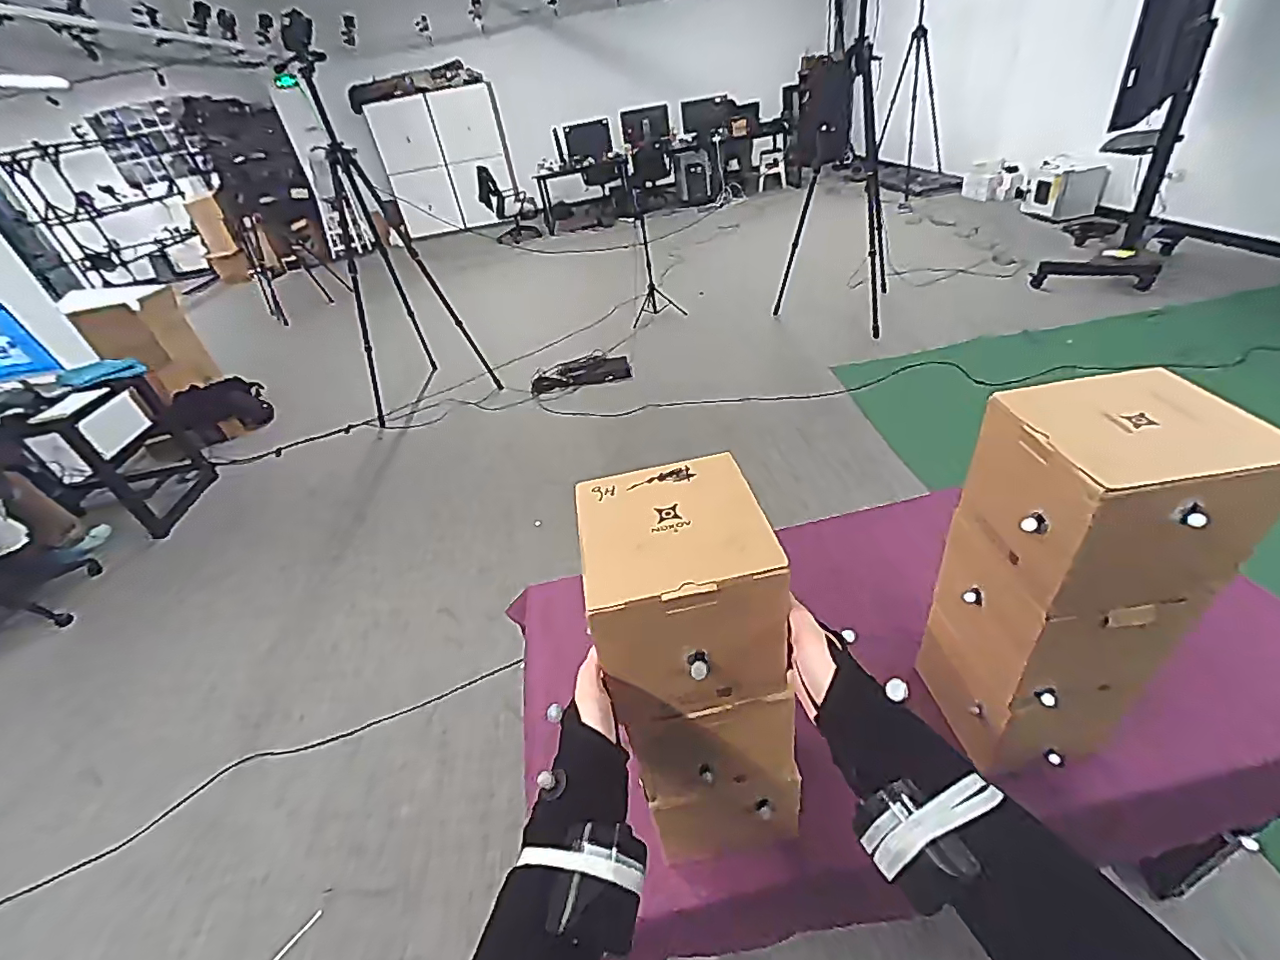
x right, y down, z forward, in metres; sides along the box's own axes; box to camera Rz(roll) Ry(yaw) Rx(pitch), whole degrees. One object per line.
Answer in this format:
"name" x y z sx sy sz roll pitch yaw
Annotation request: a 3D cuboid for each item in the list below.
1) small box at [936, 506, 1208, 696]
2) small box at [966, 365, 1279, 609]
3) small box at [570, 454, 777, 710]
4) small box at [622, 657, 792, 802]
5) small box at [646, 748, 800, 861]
"small box" 0.481 0.135 0.640 0.168 0.176 0.179 -10 35 3
"small box" 0.456 0.009 0.540 0.179 0.176 0.168 -9 37 3
"small box" 0.032 0.104 0.536 0.168 0.176 0.179 -12 37 -1
"small box" 0.068 0.235 0.629 0.168 0.176 0.179 -12 36 1
"small box" 0.100 0.370 0.716 0.179 0.176 0.168 -12 35 0
